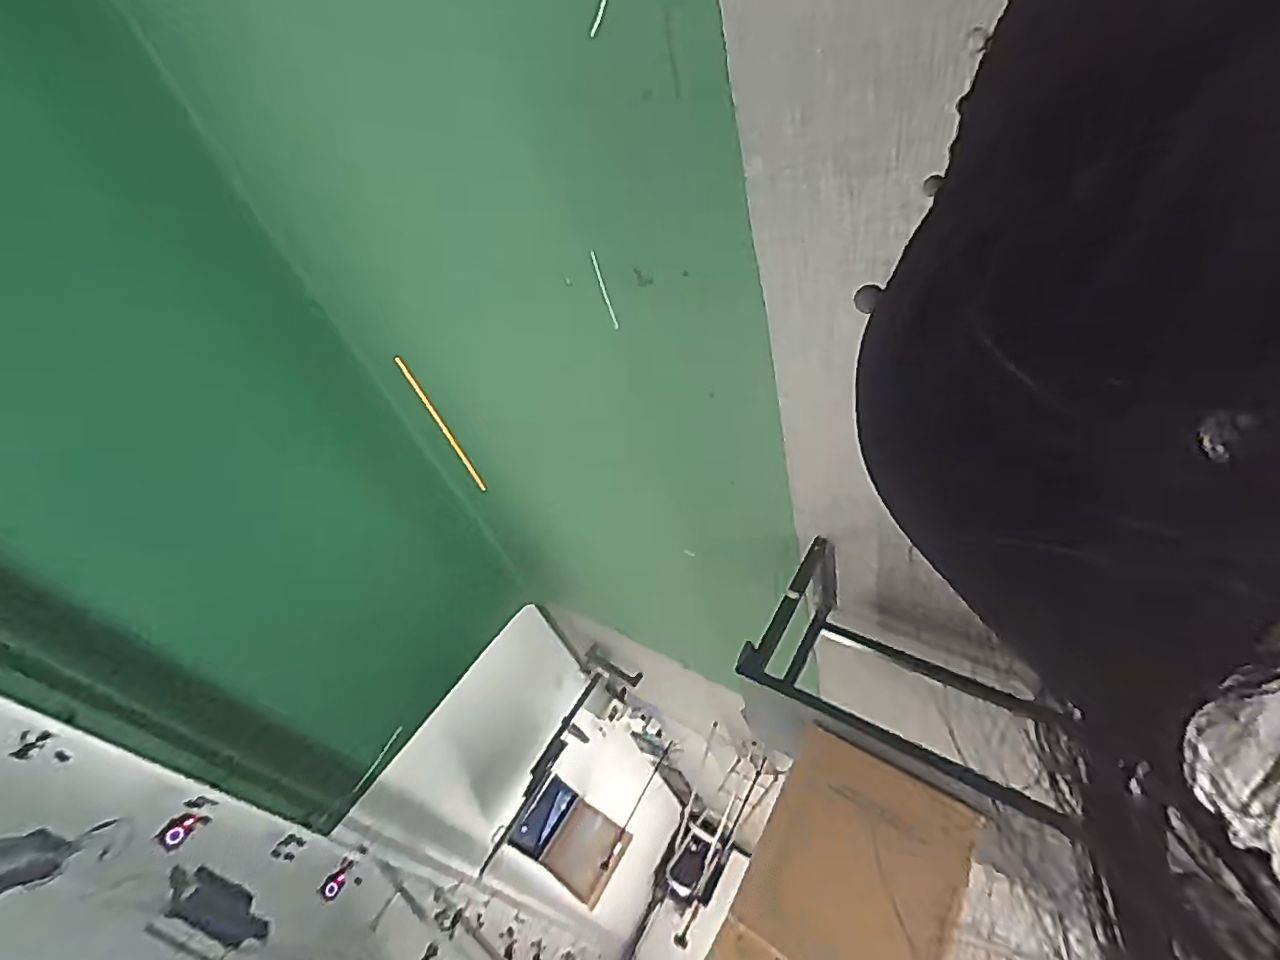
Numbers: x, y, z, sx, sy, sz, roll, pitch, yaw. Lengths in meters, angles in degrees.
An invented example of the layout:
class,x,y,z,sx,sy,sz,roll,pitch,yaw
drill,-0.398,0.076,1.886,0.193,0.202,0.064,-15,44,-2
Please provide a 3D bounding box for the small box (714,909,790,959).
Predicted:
class,x,y,z,sx,sy,sz,roll,pitch,yaw
small box,0.329,1.403,1.581,0.168,0.176,0.179,21,145,31
